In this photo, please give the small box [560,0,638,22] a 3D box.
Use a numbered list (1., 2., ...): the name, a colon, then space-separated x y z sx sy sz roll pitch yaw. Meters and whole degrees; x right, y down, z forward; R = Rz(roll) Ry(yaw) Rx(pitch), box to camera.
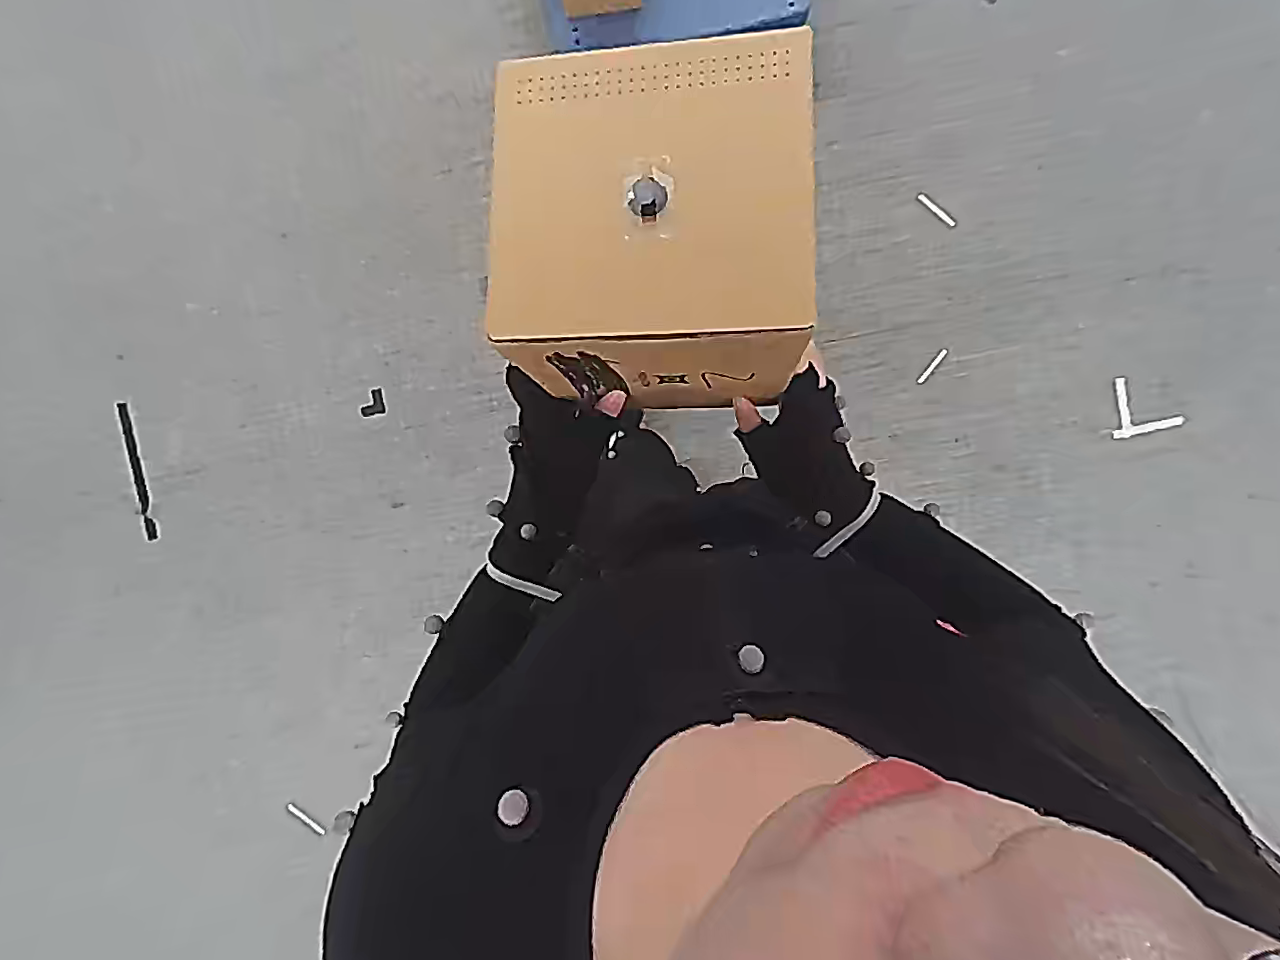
1. small box: -0.093 -1.105 1.121 0.179 0.176 0.168 -6 95 4
